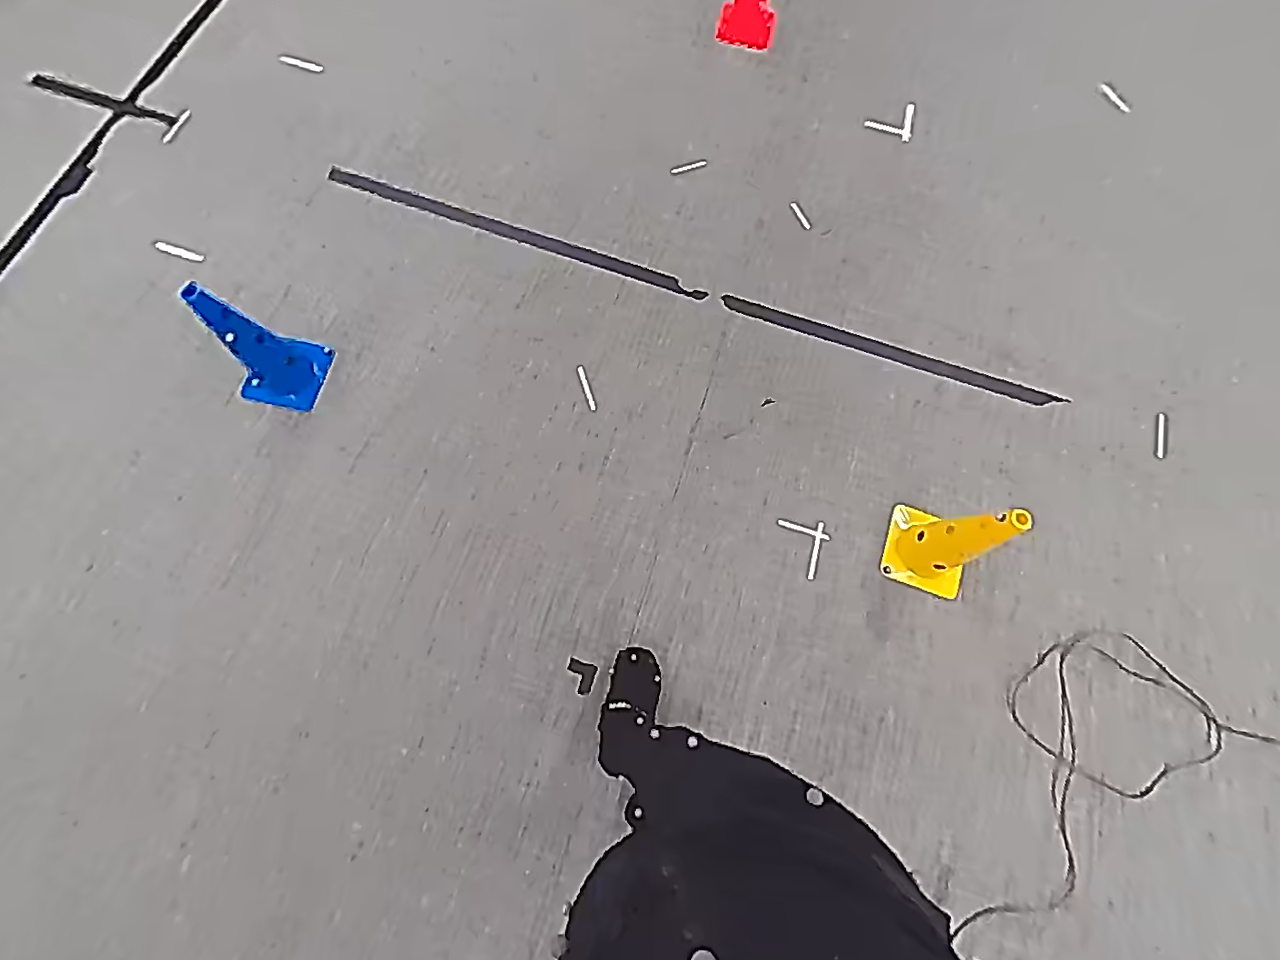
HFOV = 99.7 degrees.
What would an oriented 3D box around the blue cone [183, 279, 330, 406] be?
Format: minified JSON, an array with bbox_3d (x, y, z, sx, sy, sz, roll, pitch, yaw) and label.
[{"bbox_3d":[-0.959,-0.346,1.320,0.193,0.380,0.192,13,72,2],"label":"blue cone"}]

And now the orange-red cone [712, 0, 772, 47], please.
[{"bbox_3d":[0.374,-1.700,1.793,0.199,0.360,0.198,13,72,4],"label":"orange-red cone"}]
